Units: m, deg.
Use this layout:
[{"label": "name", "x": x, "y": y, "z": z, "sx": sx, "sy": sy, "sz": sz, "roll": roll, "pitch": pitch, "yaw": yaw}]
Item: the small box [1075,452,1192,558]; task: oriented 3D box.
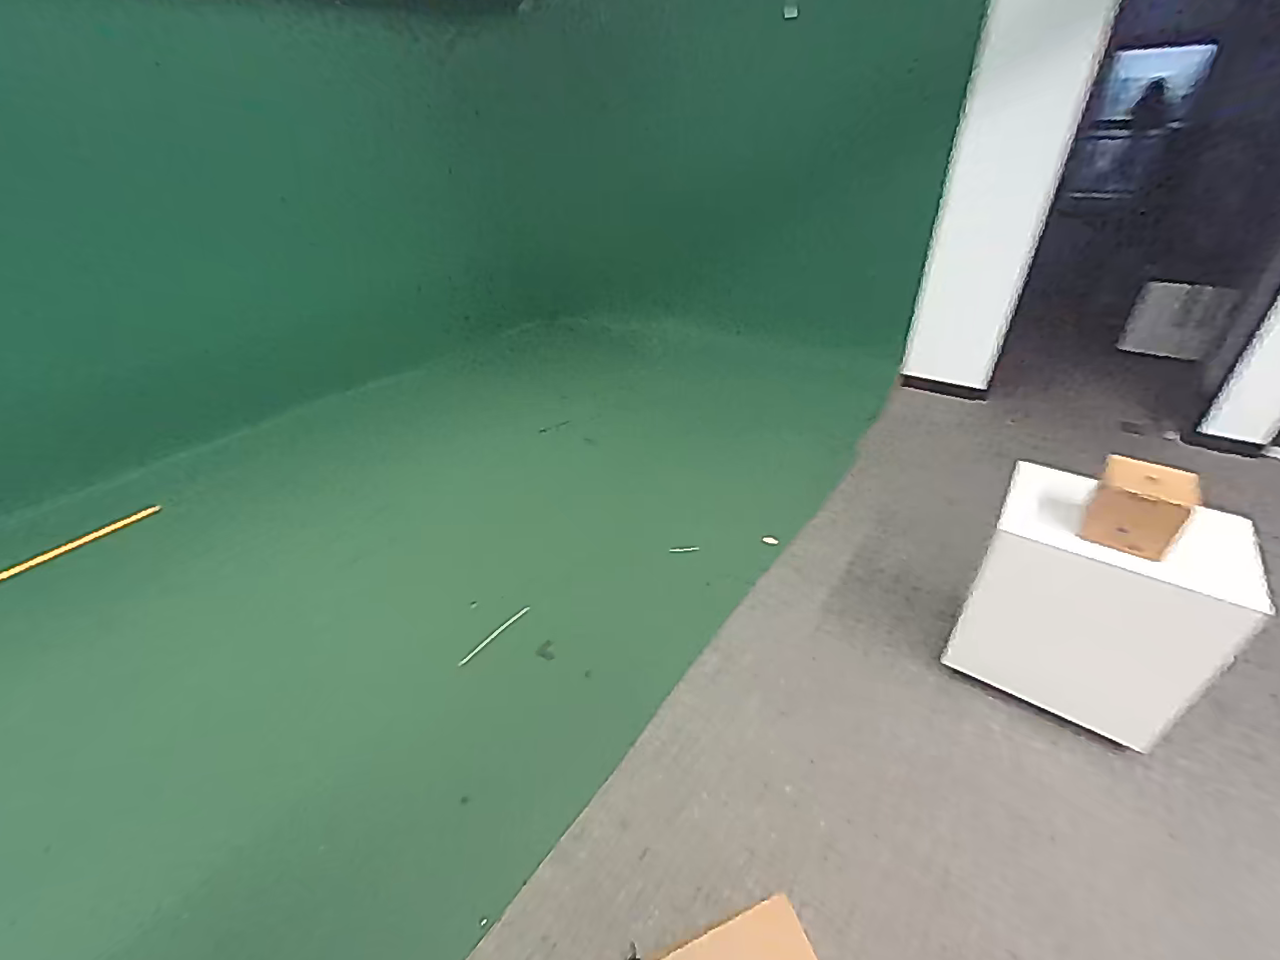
[{"label": "small box", "x": 1.212, "y": 0.060, "z": 1.339, "sx": 0.168, "sy": 0.176, "sz": 0.179, "roll": 21, "pitch": 40, "yaw": 31}]
